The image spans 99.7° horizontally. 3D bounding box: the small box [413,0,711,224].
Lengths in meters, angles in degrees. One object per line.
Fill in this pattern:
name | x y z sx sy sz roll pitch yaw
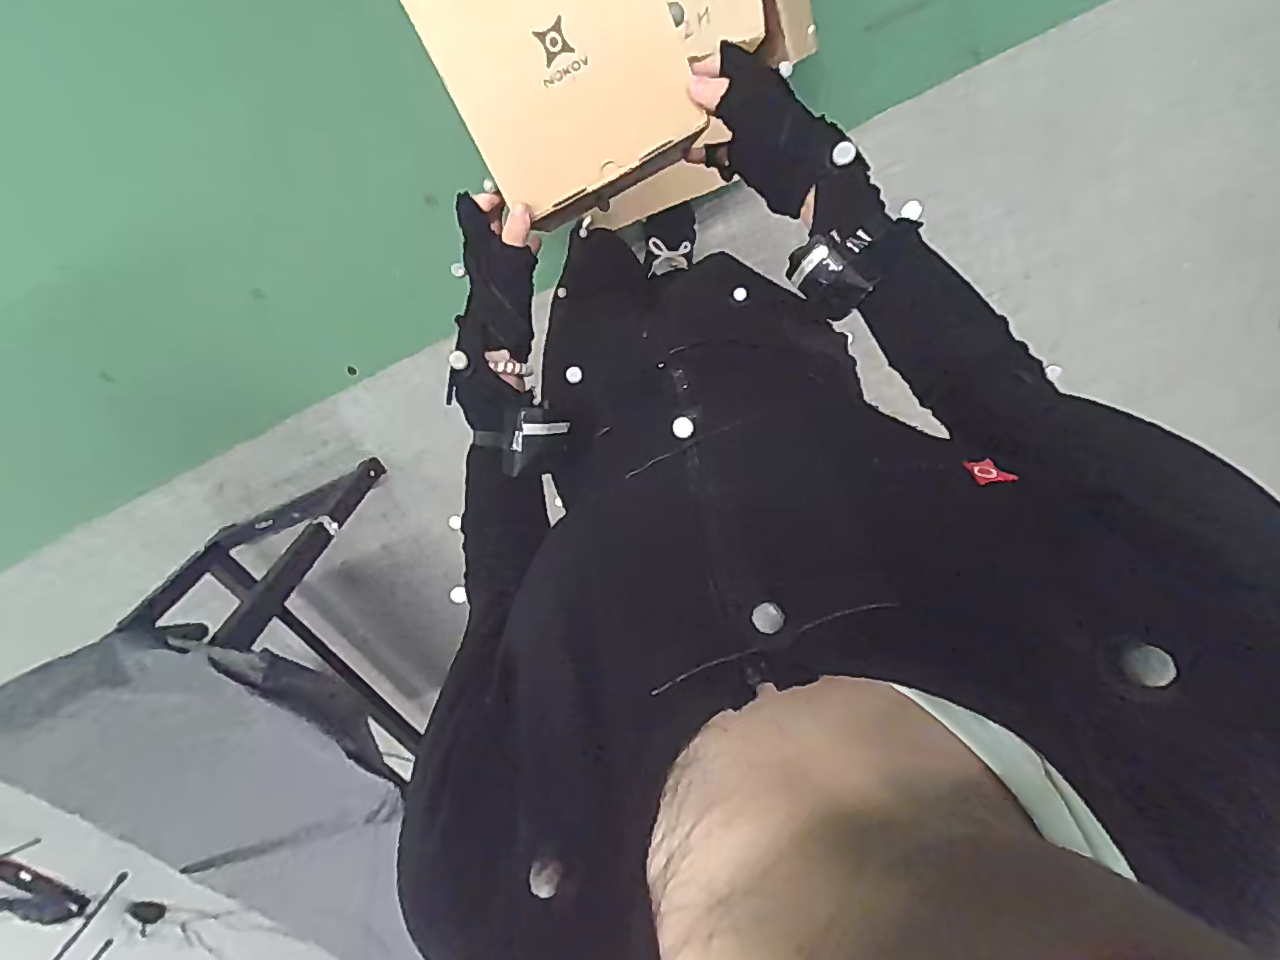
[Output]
small box | -0.062 -0.336 0.452 0.168 0.176 0.179 -25 113 6
